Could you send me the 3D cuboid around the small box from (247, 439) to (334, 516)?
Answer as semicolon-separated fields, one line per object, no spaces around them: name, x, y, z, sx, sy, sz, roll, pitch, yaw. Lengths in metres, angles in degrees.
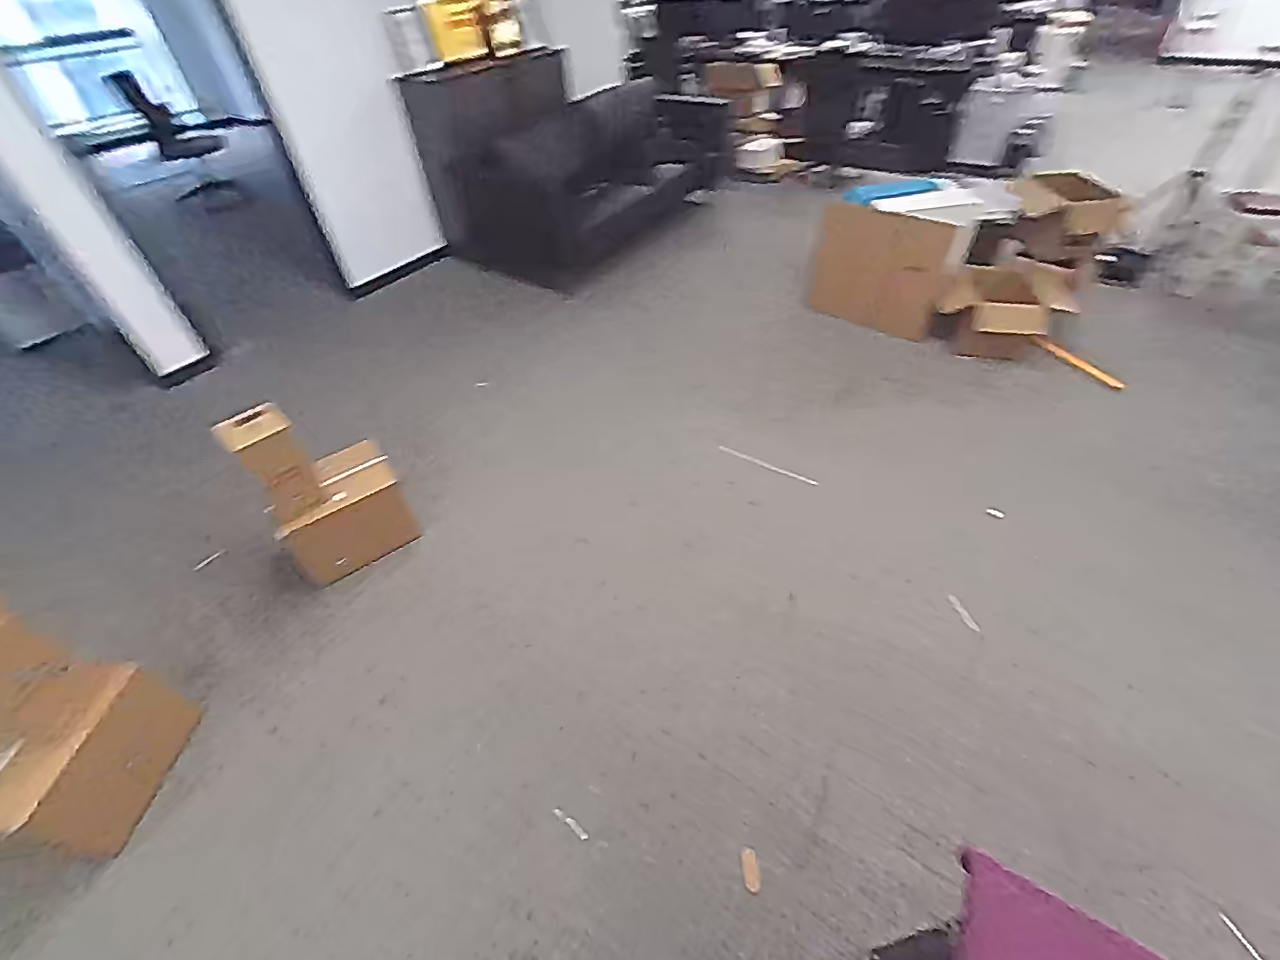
small box;-1.180;-0.001;1.837;0.168;0.176;0.179;-36;54;-29

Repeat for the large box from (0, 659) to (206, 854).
large box;-1.513;0.739;1.459;0.320;0.320;0.408;-1;46;4

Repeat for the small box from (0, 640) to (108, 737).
small box;-1.490;0.513;1.335;0.168;0.176;0.179;-1;45;3
